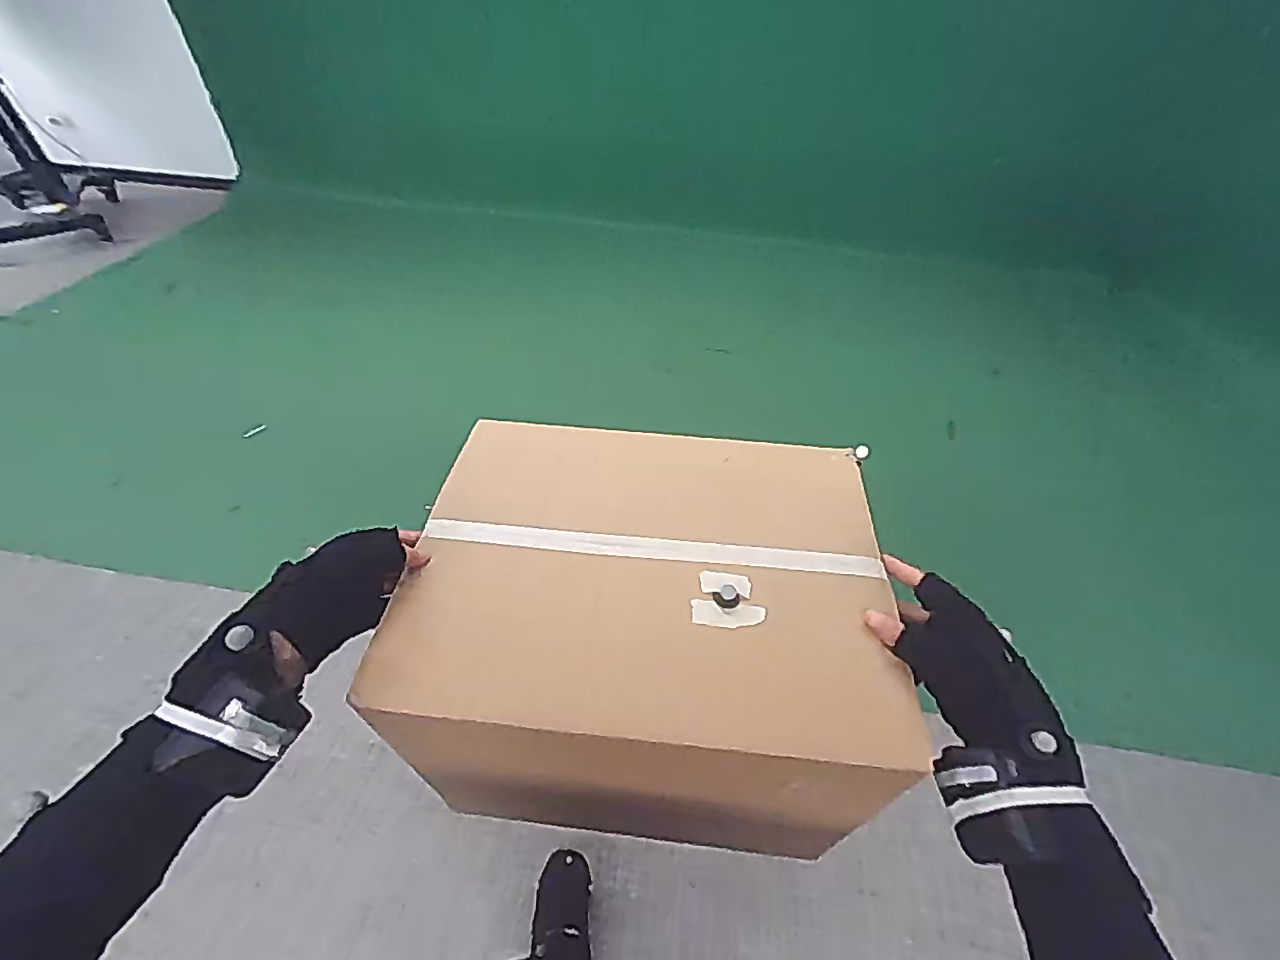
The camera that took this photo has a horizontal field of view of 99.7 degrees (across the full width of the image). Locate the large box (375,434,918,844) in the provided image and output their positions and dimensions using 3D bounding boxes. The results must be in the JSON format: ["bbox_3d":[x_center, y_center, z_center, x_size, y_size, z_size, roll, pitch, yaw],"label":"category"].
[{"bbox_3d":[0.010,0.173,0.597,0.408,0.320,0.320,5,47,4],"label":"large box"}]
